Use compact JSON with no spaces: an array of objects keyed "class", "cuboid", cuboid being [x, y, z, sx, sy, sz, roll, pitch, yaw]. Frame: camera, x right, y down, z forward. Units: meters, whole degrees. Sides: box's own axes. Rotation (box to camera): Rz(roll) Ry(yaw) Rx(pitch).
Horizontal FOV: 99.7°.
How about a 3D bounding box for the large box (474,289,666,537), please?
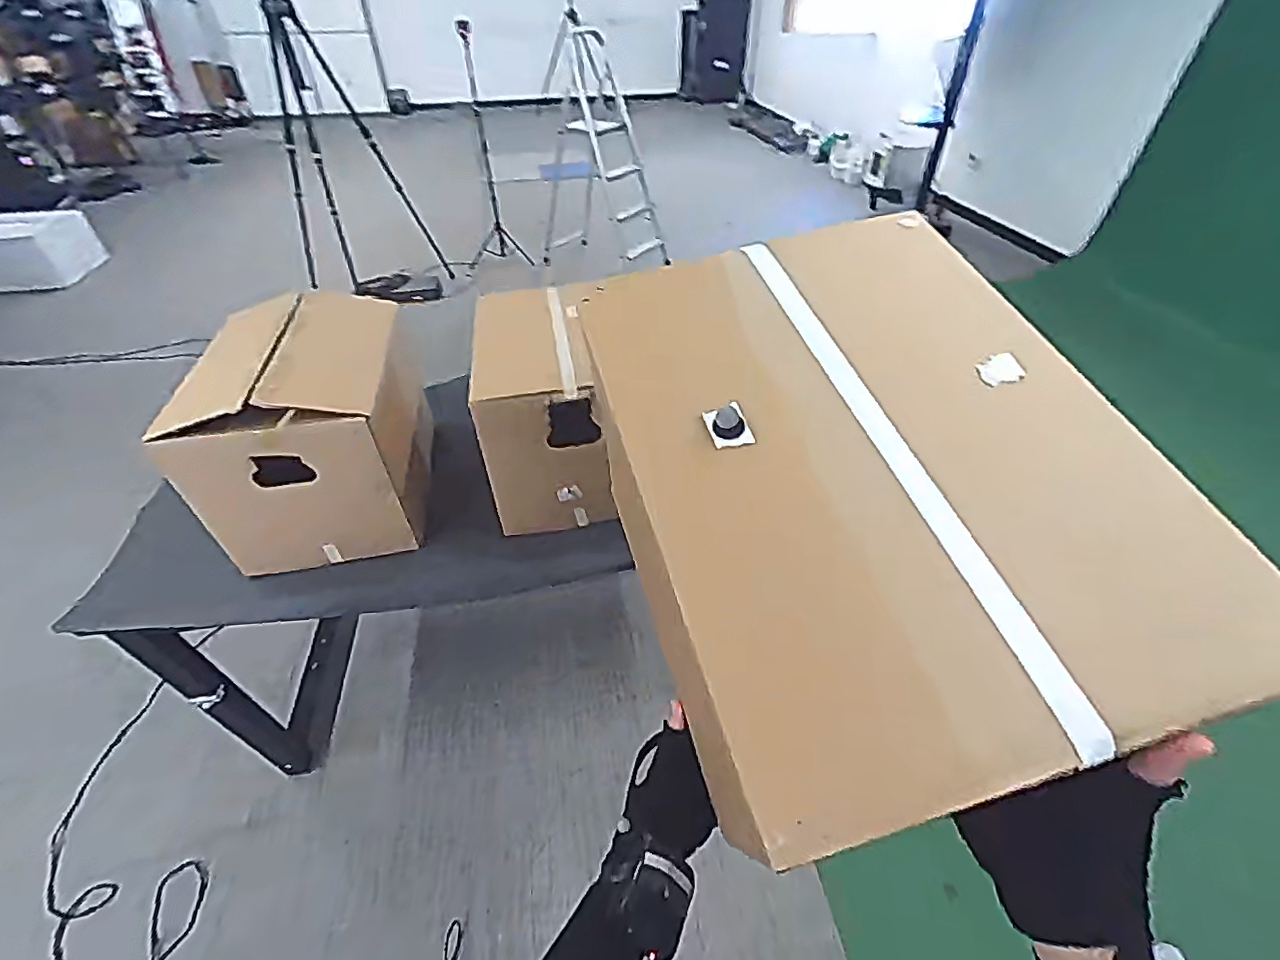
[{"class":"large box","cuboid":[-0.141,-0.148,1.098,0.320,0.320,0.408,-8,42,-8]}]
